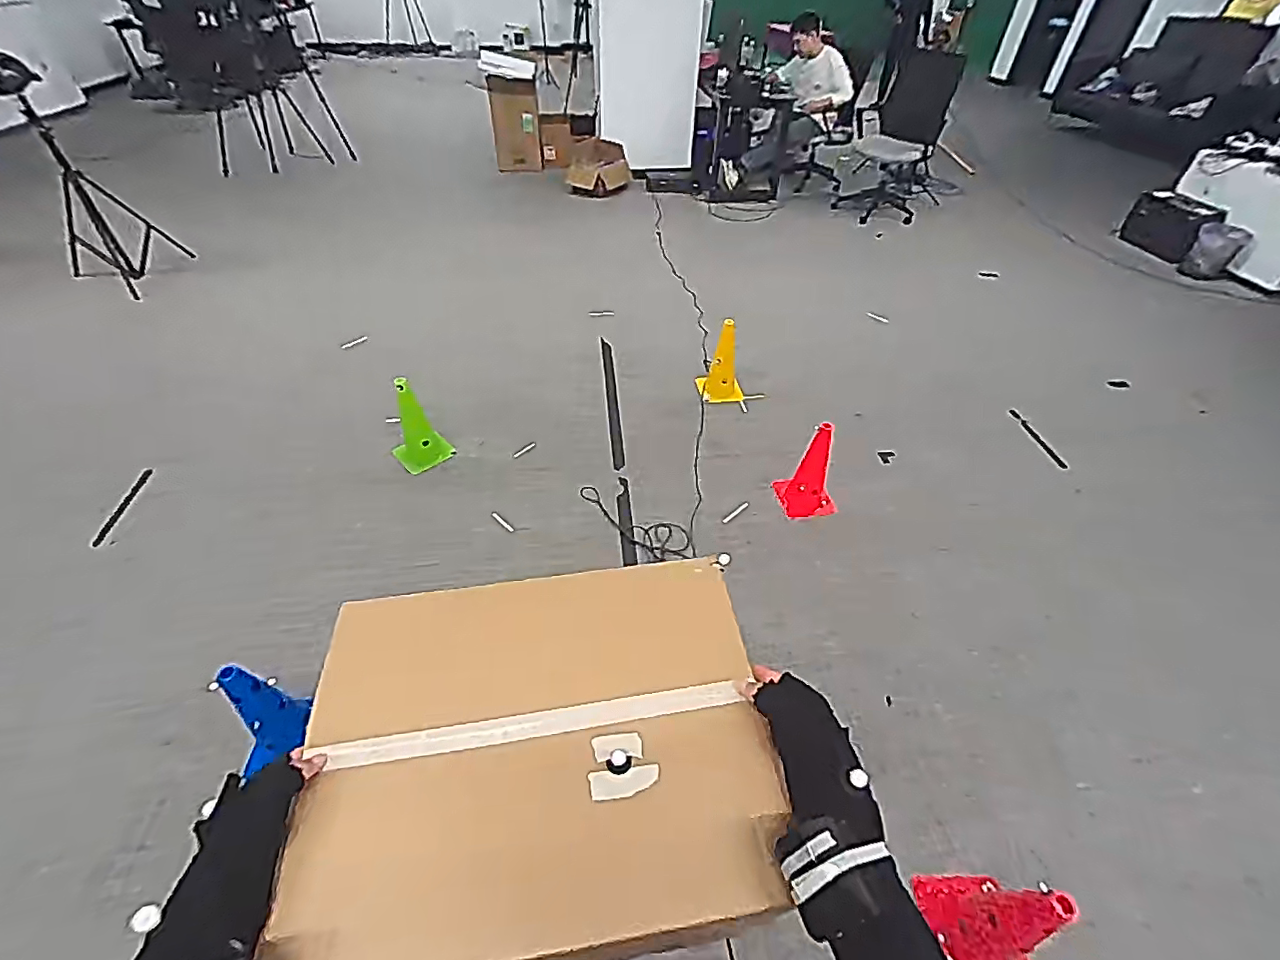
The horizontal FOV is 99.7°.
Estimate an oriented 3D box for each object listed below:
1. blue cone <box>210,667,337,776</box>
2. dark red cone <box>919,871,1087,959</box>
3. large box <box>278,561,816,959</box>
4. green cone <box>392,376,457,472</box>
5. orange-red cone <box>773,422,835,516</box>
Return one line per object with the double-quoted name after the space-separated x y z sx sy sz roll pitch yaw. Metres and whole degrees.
-0.912 0.556 1.312 0.192 0.380 0.193 -2 44 -2 "blue cone"
0.710 0.830 1.023 0.201 0.394 0.202 0 44 -1 "dark red cone"
-0.083 0.325 0.600 0.408 0.320 0.320 -5 47 -6 "large box"
-0.885 -0.247 2.109 0.202 0.368 0.200 -35 54 -29 "green cone"
0.635 -0.061 1.967 0.198 0.360 0.199 -5 43 -8 "orange-red cone"
